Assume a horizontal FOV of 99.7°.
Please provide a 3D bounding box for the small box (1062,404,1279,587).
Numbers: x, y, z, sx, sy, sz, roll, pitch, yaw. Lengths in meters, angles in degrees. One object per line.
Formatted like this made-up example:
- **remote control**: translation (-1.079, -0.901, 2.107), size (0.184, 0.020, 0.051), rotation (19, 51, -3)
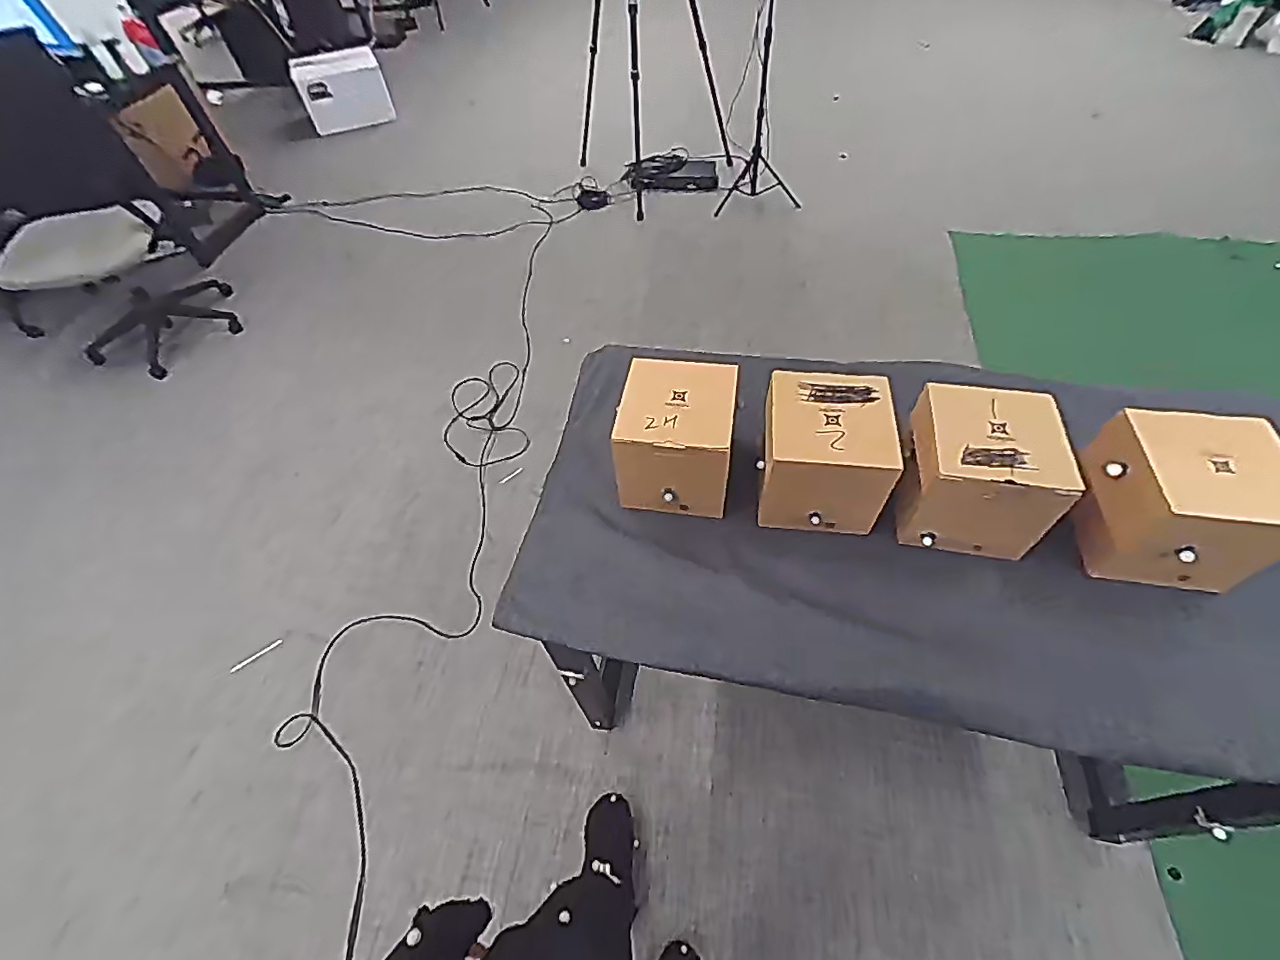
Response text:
- **small box**: translation (0.714, 0.024, 0.721), size (0.168, 0.176, 0.179), rotation (6, 54, 10)

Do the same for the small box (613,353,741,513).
- **small box**: translation (0.061, -0.072, 0.844), size (0.168, 0.176, 0.179), rotation (6, 54, 9)
